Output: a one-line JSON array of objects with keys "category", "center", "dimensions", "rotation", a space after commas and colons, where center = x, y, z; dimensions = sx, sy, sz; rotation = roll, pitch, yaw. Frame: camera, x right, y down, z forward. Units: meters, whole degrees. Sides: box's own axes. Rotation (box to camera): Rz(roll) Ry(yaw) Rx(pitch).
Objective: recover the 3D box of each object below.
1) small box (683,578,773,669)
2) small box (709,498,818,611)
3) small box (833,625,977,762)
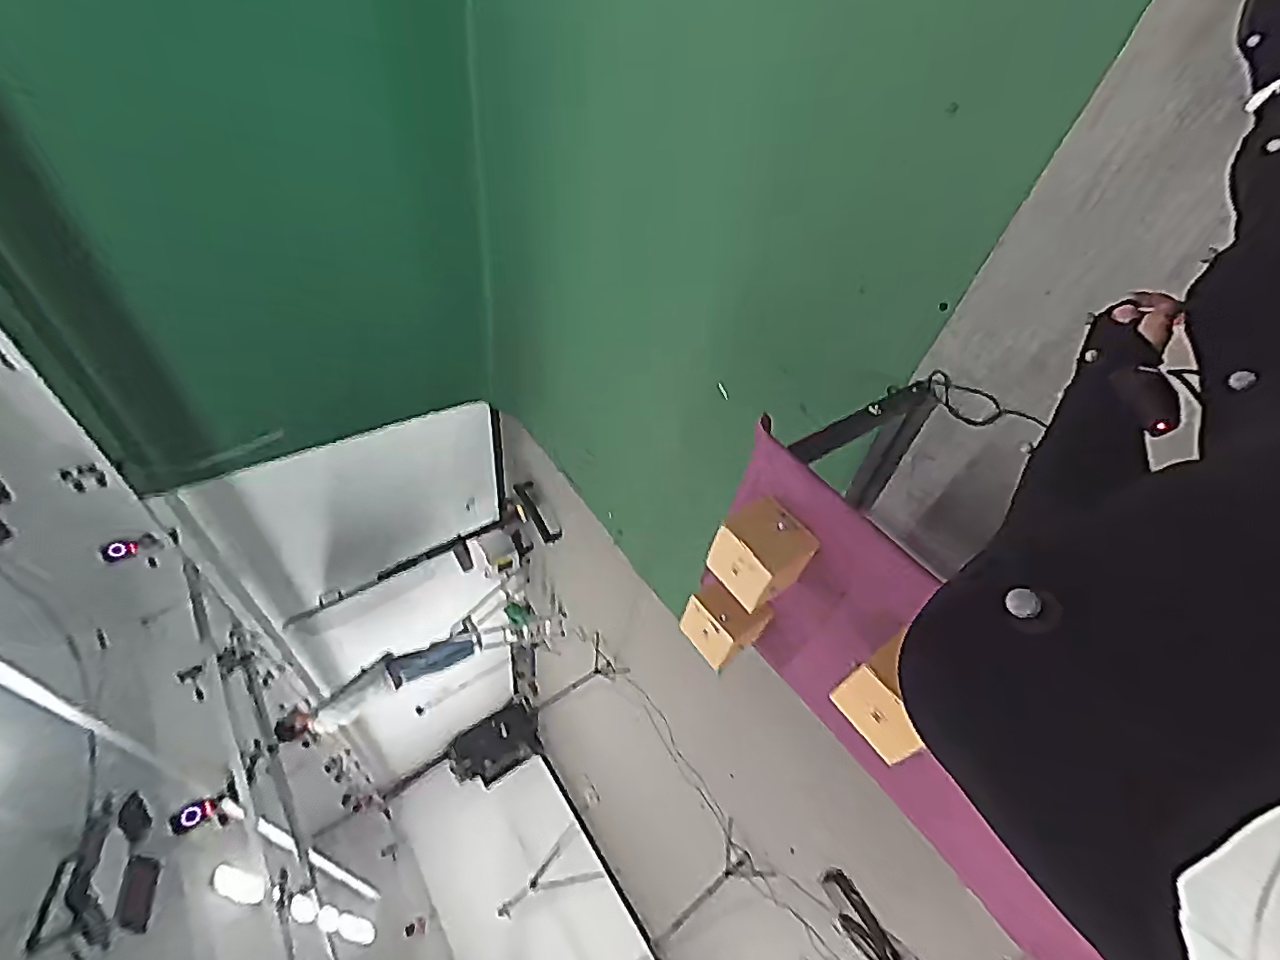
[{"category": "small box", "center": [0.249, 0.393, 1.531], "dimensions": [0.168, 0.176, 0.179], "rotation": [45, 143, 28]}, {"category": "small box", "center": [0.296, 0.175, 1.299], "dimensions": [0.168, 0.176, 0.179], "rotation": [47, 147, 27]}, {"category": "small box", "center": [0.538, 0.430, 1.099], "dimensions": [0.168, 0.176, 0.179], "rotation": [48, 147, 29]}]
